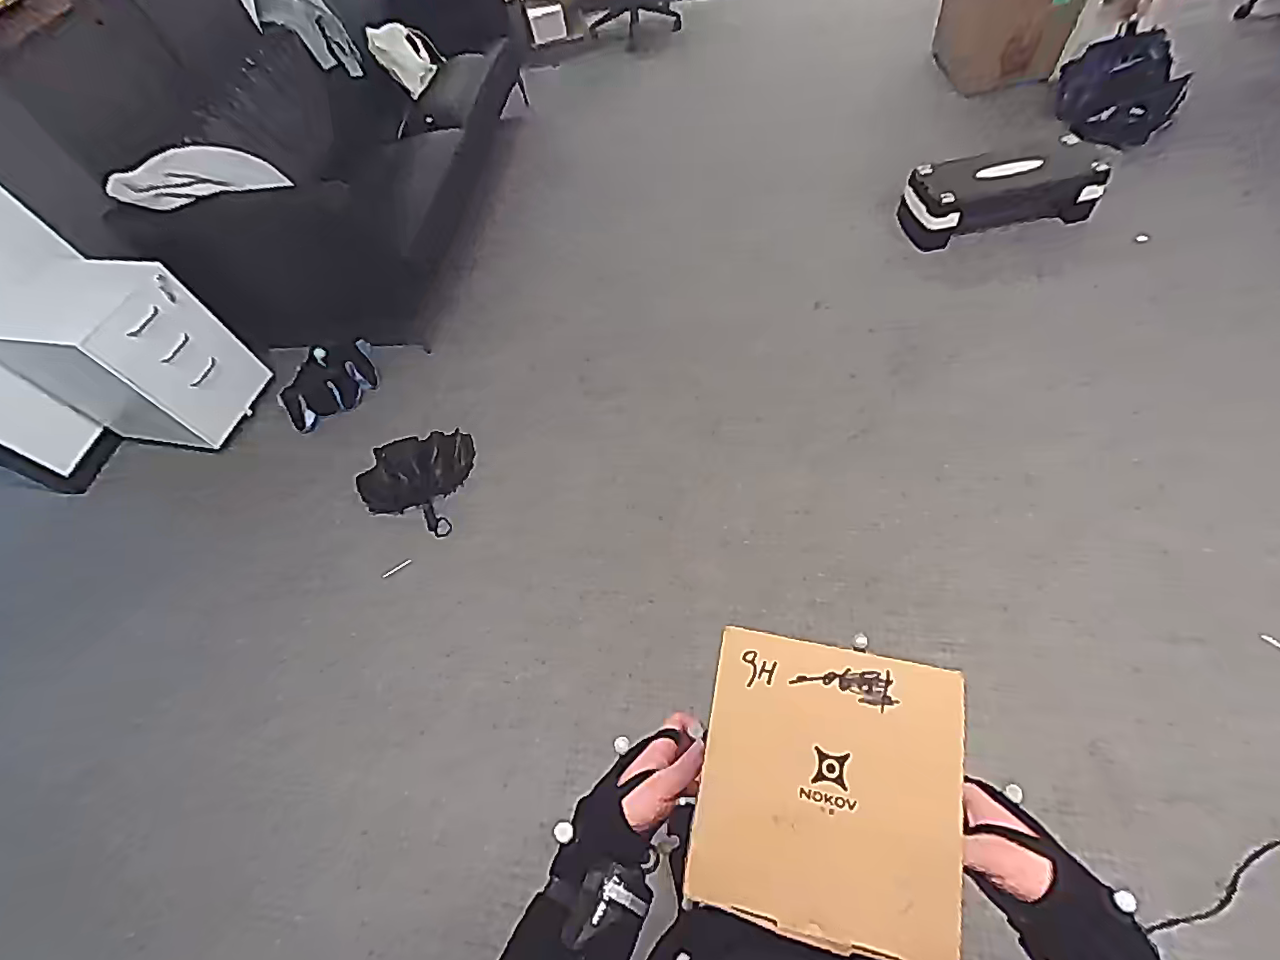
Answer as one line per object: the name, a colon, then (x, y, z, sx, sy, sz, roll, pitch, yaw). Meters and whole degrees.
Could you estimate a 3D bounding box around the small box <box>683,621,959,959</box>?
small box: (0.134, 0.223, 0.440, 0.168, 0.176, 0.179, 9, 73, 10)
